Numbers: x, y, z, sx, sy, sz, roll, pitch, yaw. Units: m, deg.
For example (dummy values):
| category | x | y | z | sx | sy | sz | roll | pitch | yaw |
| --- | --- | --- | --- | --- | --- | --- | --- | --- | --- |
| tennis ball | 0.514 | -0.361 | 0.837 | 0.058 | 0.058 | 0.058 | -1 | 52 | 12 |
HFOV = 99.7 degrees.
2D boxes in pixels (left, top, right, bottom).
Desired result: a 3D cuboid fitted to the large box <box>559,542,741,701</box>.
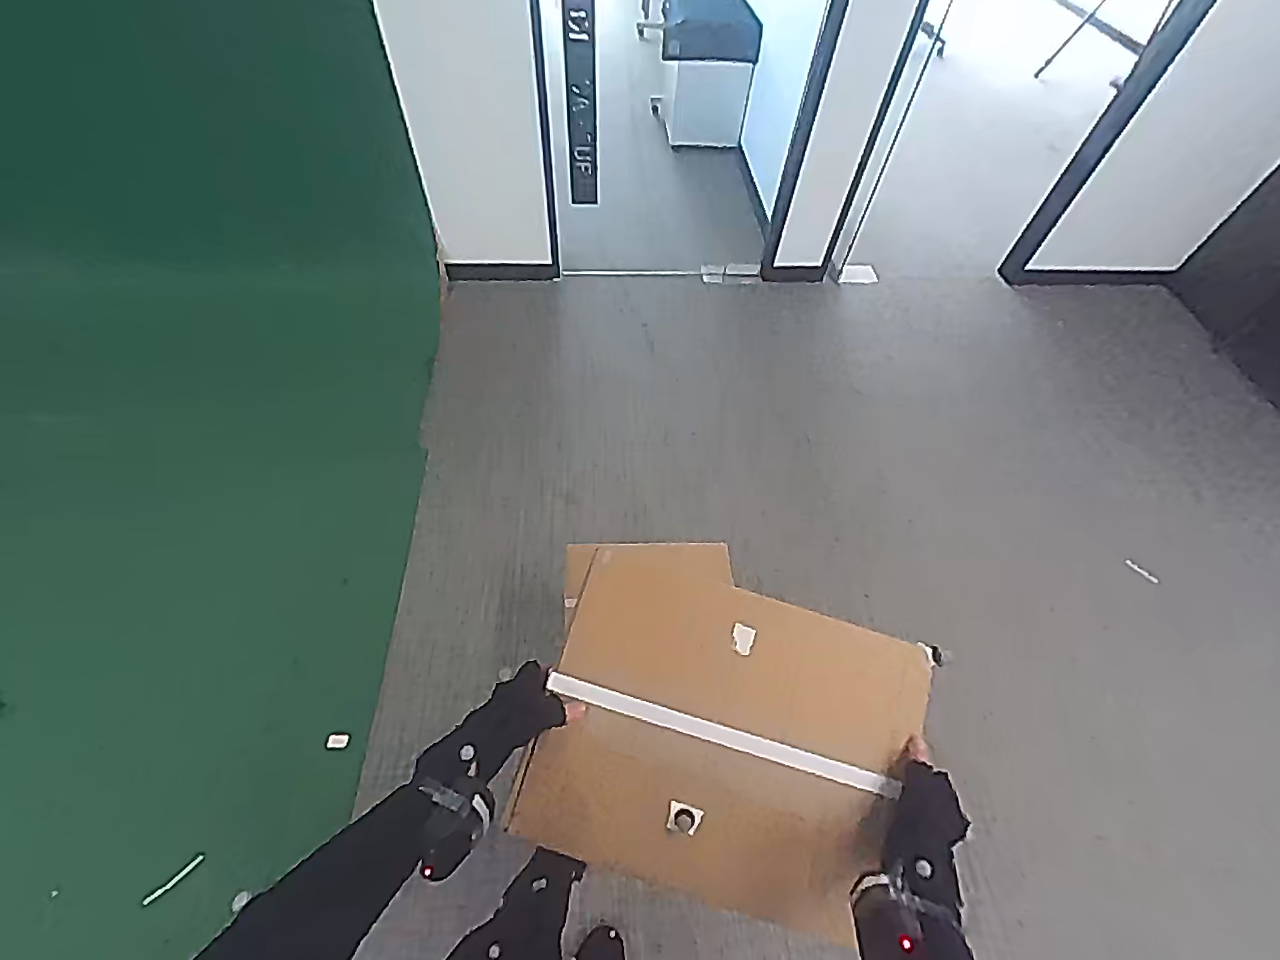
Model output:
| category | x | y | z | sx | sy | sz | roll | pitch | yaw |
| --- | --- | --- | --- | --- | --- | --- | --- | --- | --- |
| large box | 0.012 | 0.368 | 1.380 | 0.408 | 0.320 | 0.320 | 0 | 55 | -4 |
